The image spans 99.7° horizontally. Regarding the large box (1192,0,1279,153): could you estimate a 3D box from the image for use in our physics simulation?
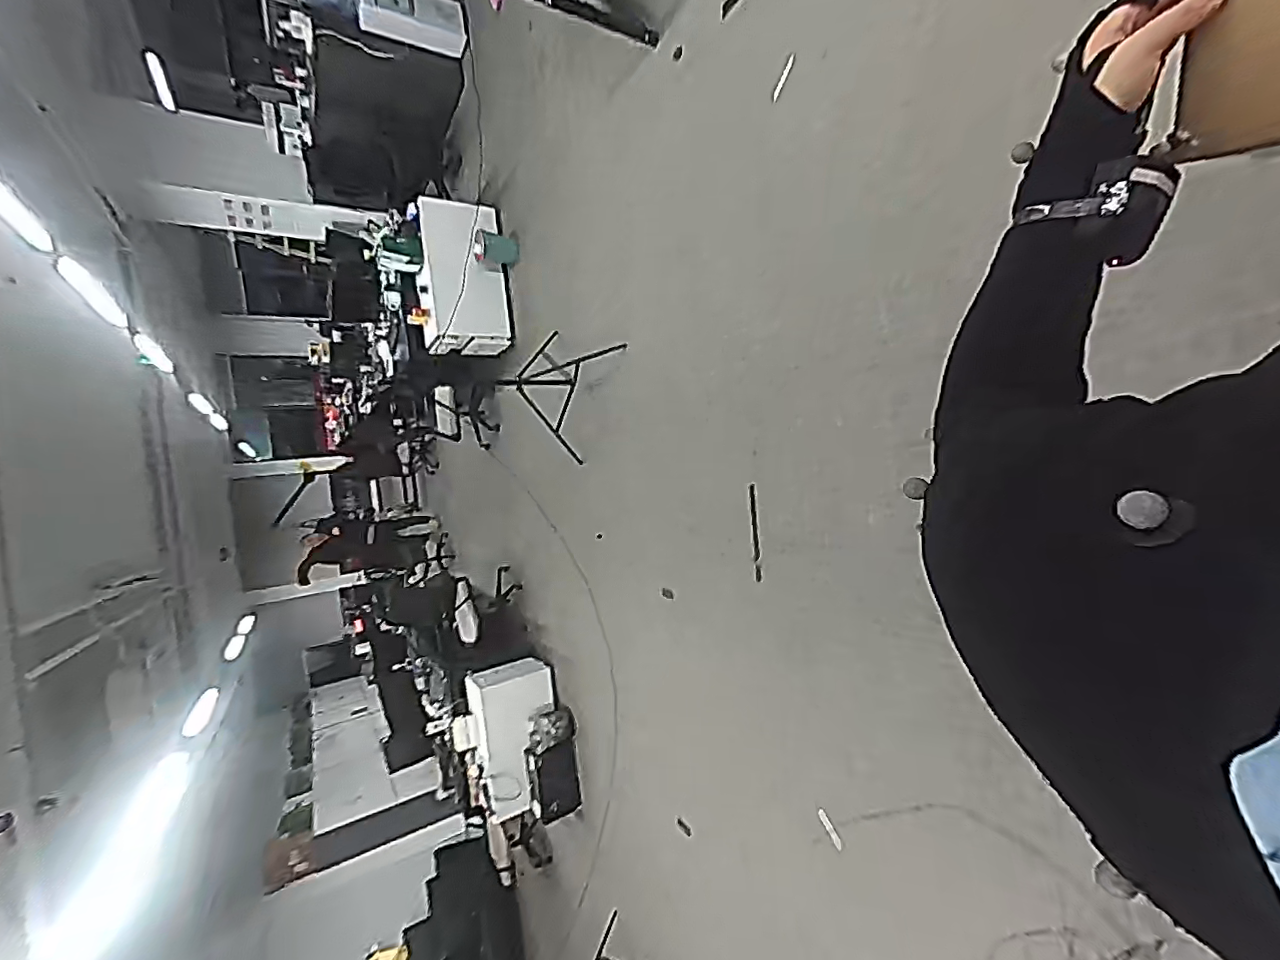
[{"bbox_3d":[0.624,-0.409,0.278,0.408,0.320,0.320,16,120,55],"label":"large box"}]
